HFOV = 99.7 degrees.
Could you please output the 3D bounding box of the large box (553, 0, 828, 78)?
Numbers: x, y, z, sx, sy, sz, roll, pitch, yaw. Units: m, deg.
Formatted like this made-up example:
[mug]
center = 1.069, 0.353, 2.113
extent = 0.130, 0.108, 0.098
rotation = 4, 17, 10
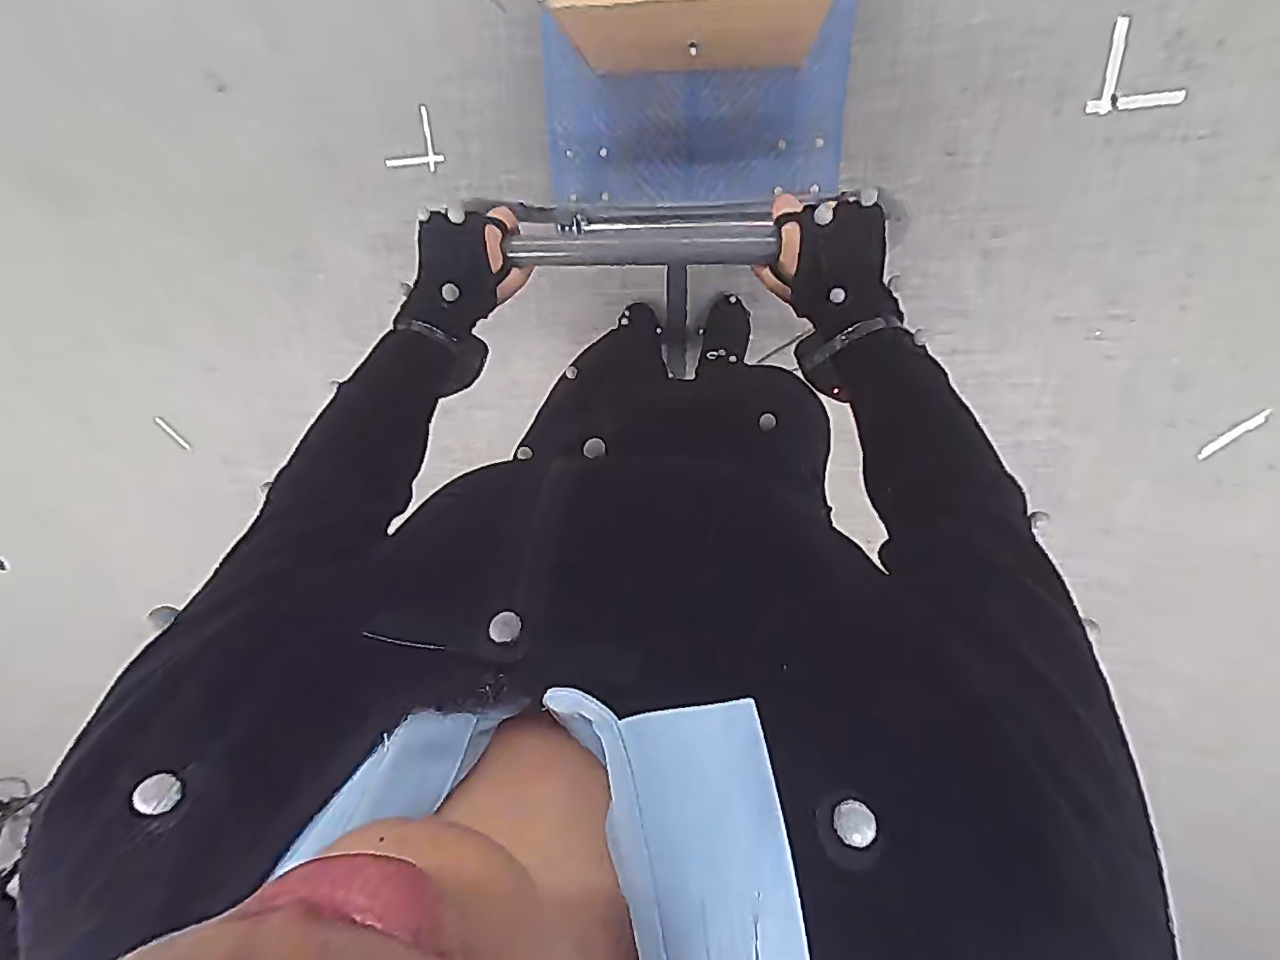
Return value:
[large box]
center = 0.090, -0.872, 0.853
extent = 0.408, 0.320, 0.320
rotation = 3, 111, 9
